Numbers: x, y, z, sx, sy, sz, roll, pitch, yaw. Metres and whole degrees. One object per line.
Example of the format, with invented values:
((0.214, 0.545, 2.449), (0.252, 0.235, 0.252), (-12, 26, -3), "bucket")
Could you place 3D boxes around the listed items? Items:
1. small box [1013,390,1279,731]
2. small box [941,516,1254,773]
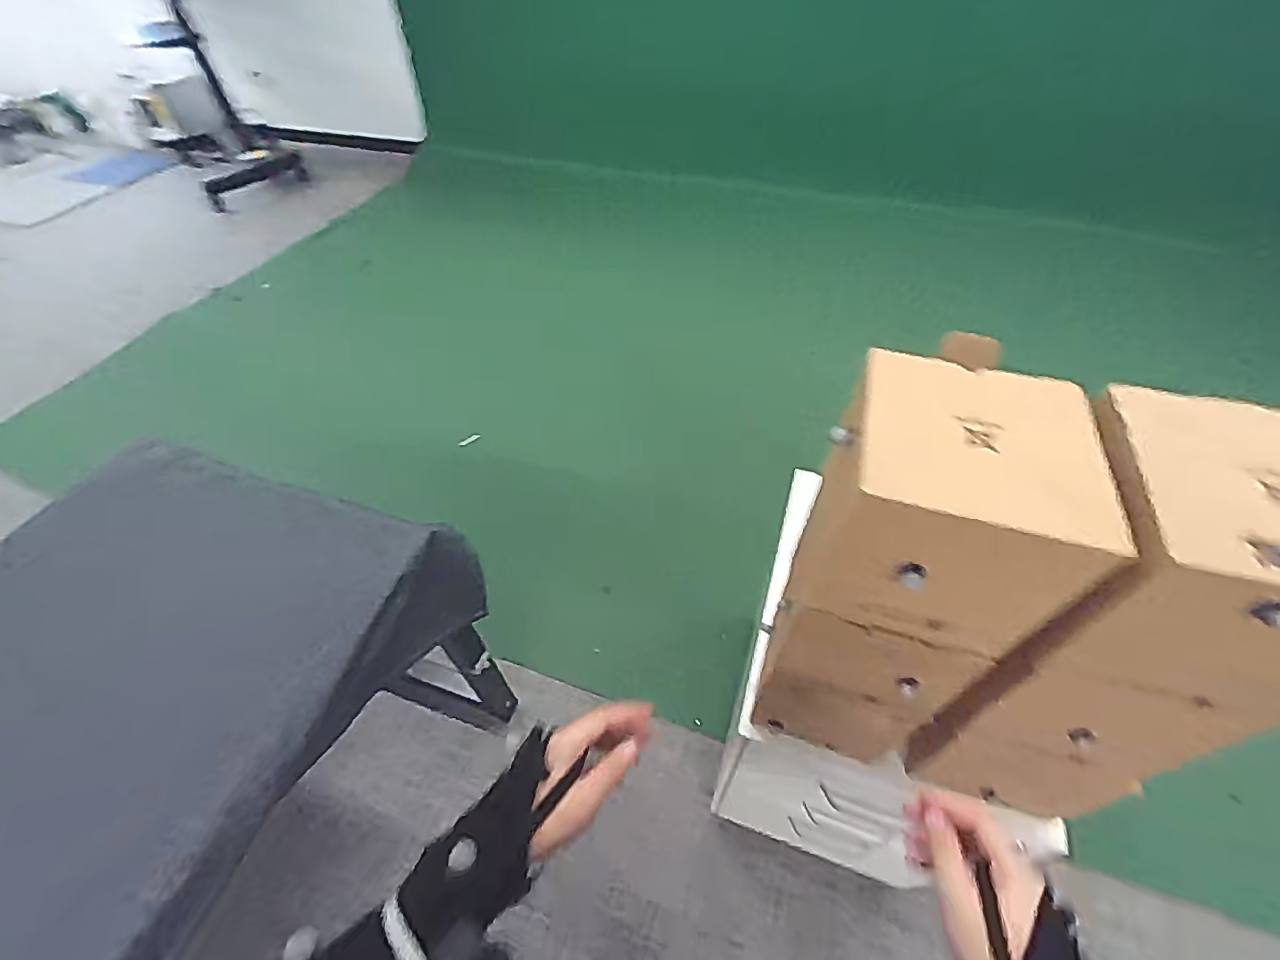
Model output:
((0.423, 0.061, 0.421), (0.168, 0.176, 0.179), (14, 50, 13), "small box")
((0.425, 0.168, 0.545), (0.168, 0.176, 0.179), (12, 50, 11), "small box")
